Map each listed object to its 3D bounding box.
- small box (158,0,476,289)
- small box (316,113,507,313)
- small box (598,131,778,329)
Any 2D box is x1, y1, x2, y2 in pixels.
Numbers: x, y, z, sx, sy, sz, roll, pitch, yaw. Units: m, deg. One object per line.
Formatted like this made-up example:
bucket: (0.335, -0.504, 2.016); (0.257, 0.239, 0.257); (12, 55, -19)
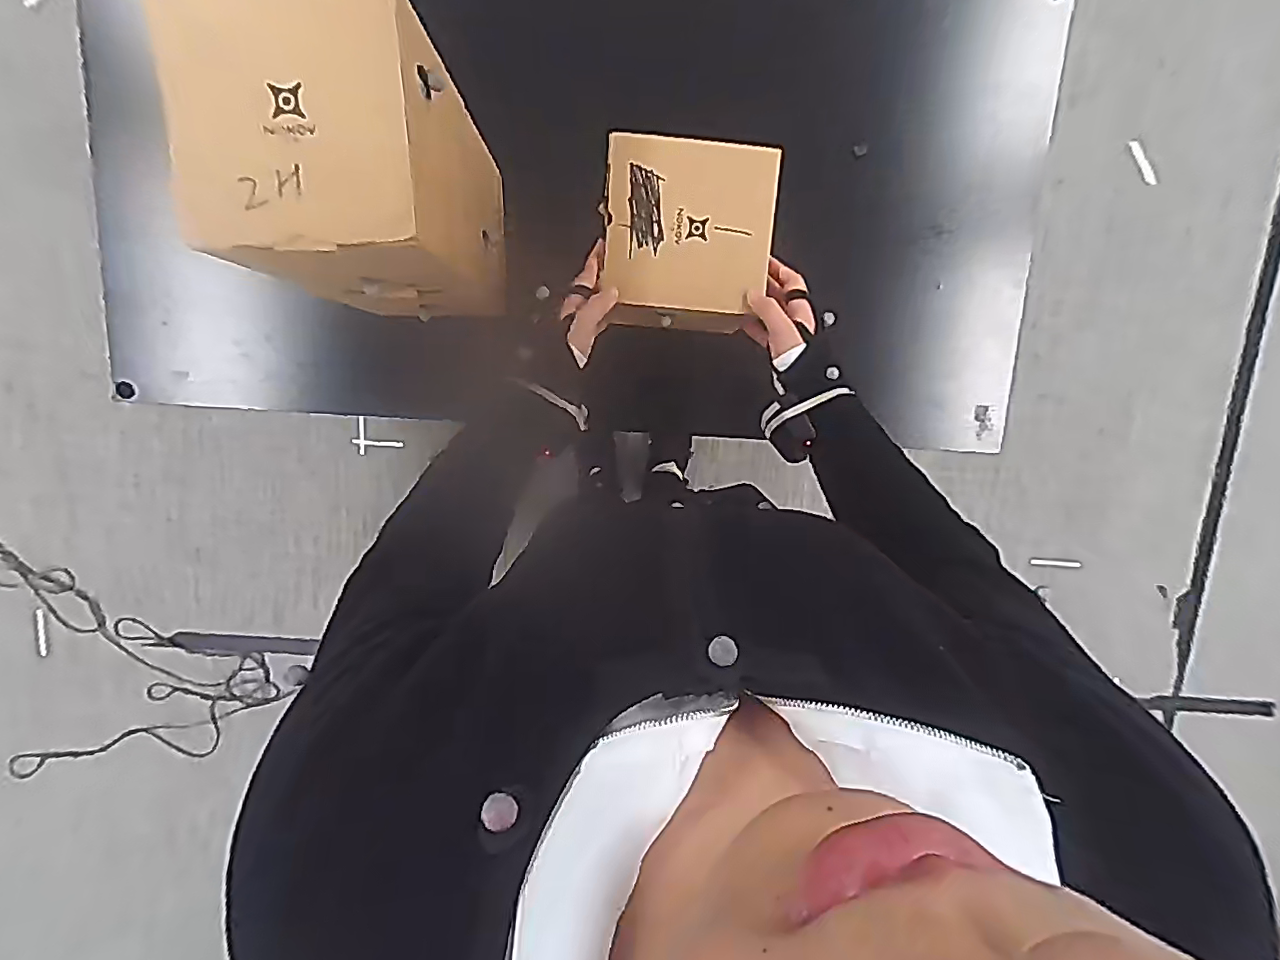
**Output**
small box: (-0.247, -0.271, 0.459); (0.168, 0.176, 0.179); (-2, 99, -1)
small box: (-0.254, -0.292, 0.624); (0.168, 0.176, 0.179); (-1, 99, -1)
small box: (0.046, -0.276, 0.636); (0.179, 0.176, 0.168); (4, 99, -3)
